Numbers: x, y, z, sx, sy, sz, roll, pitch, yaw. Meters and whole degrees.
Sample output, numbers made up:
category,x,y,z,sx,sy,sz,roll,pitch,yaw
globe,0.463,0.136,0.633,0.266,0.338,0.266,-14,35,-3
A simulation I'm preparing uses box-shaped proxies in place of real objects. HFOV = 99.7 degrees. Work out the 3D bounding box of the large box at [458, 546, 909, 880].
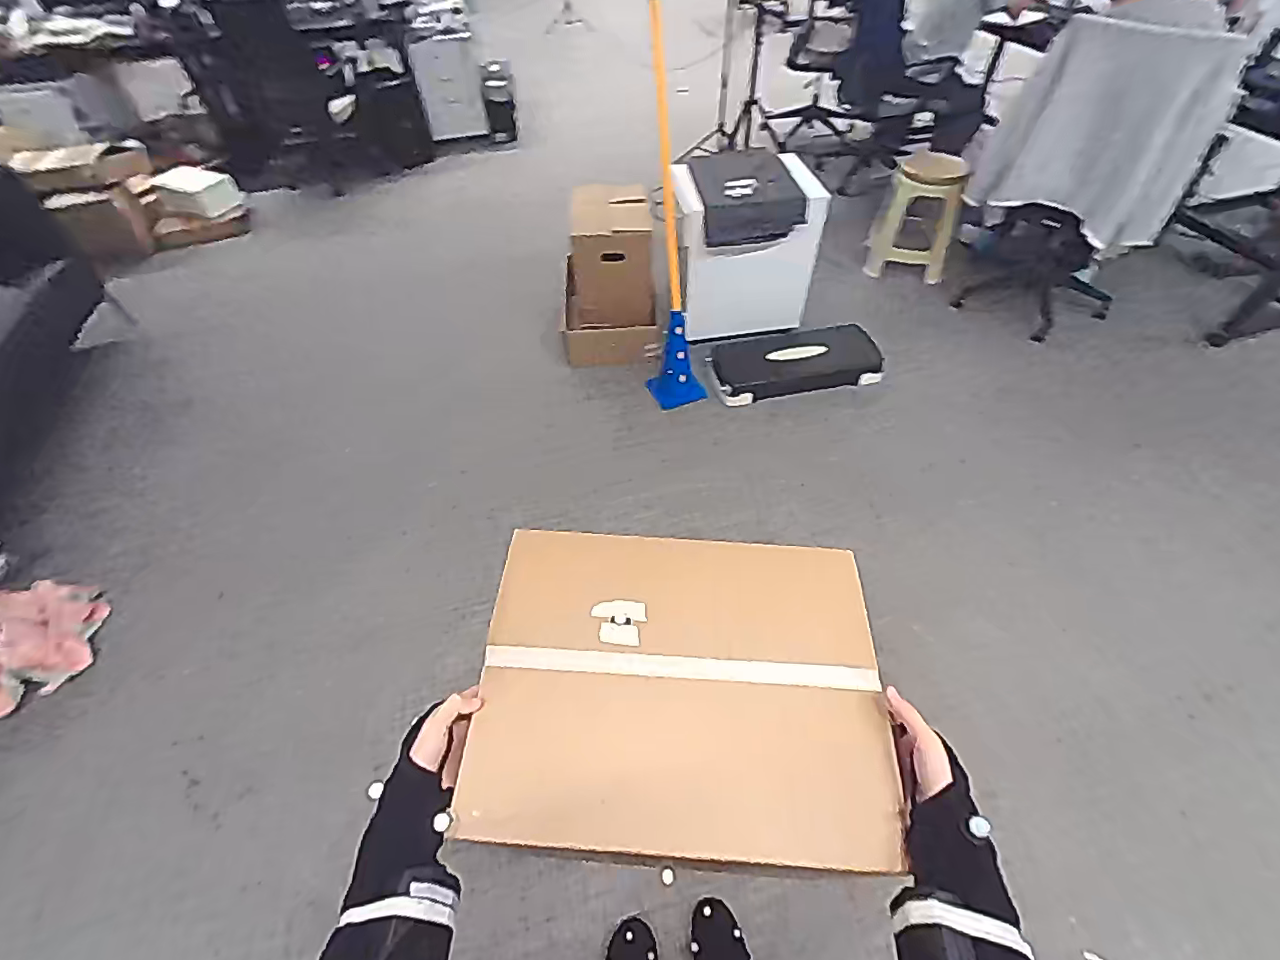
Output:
category,x,y,z,sx,sy,sz,roll,pitch,yaw
large box,0.046,0.300,0.679,0.408,0.320,0.320,3,51,3
